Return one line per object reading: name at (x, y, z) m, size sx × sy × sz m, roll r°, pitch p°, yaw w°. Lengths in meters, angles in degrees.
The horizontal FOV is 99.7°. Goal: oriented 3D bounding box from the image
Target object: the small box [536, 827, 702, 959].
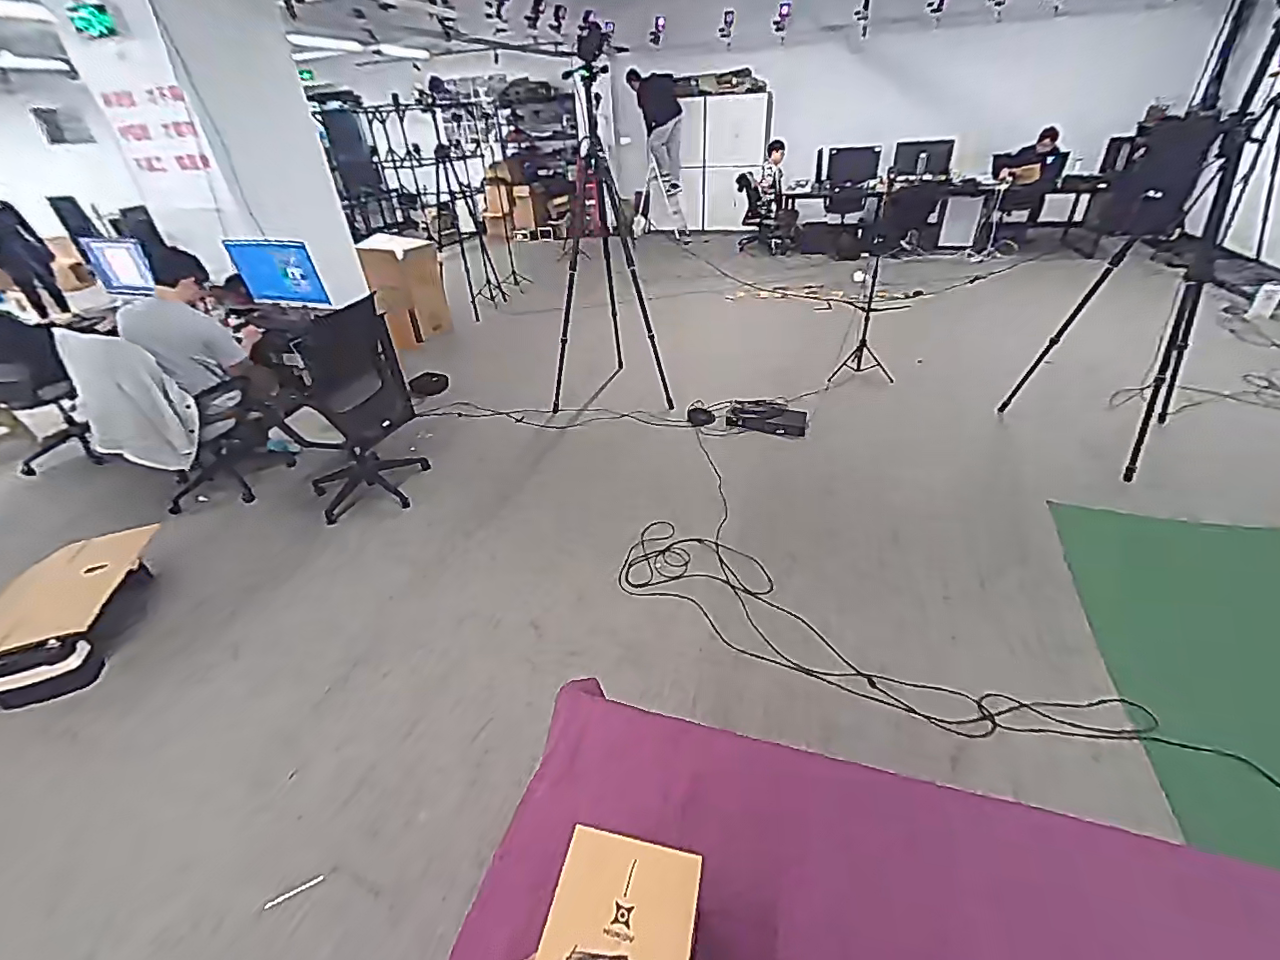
small box at (-0.019, 0.568, 0.653) m, size 0.168 × 0.176 × 0.179 m, roll 7°, pitch 36°, yaw 12°
